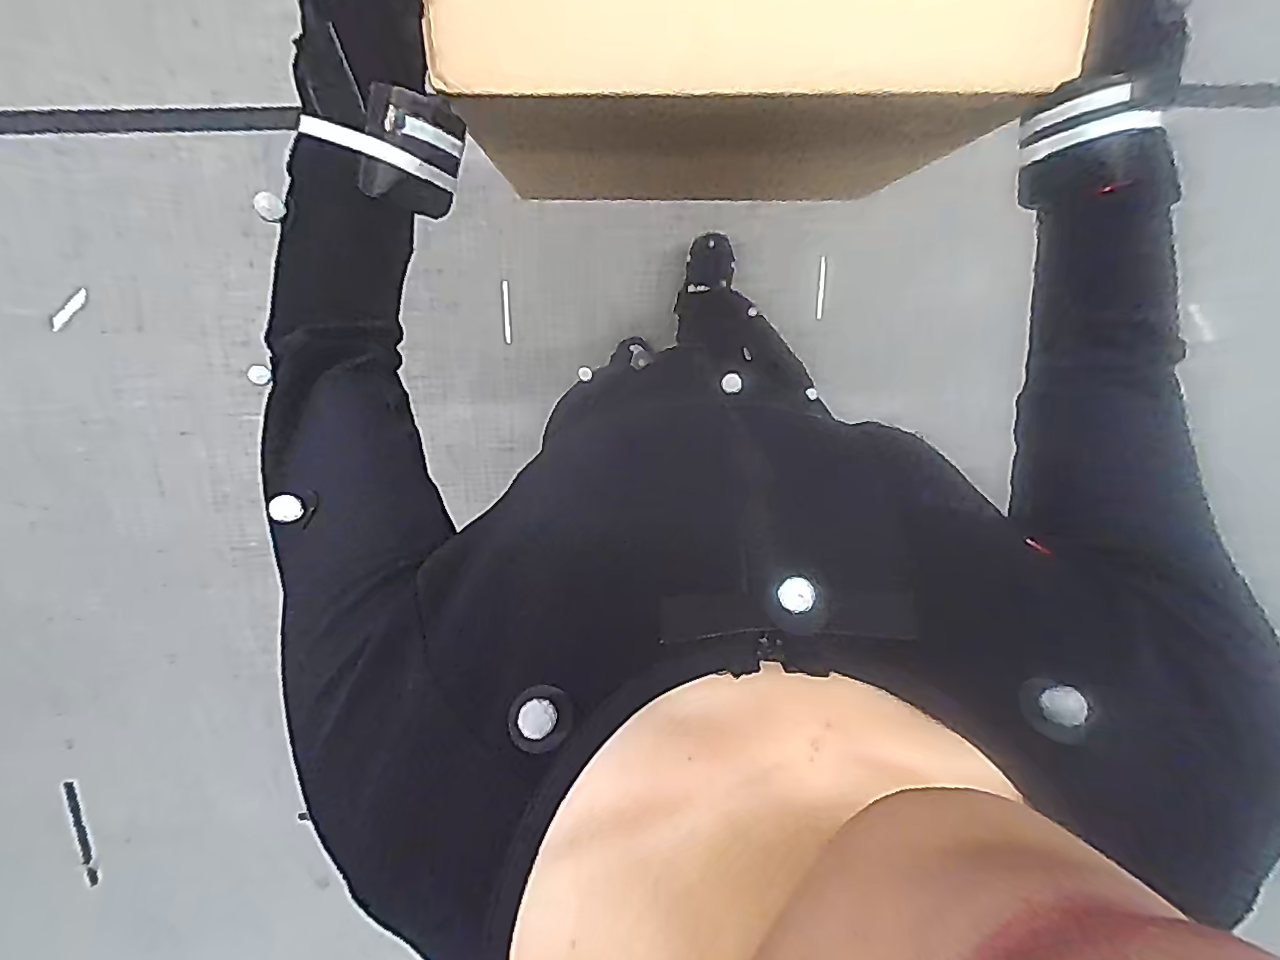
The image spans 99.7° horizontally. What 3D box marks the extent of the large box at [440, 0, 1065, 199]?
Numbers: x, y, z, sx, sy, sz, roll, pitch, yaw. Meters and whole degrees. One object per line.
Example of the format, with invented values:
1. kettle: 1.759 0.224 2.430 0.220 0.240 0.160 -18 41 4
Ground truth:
1. large box: 0.063 -0.444 0.453 0.408 0.320 0.320 -2 106 -2
